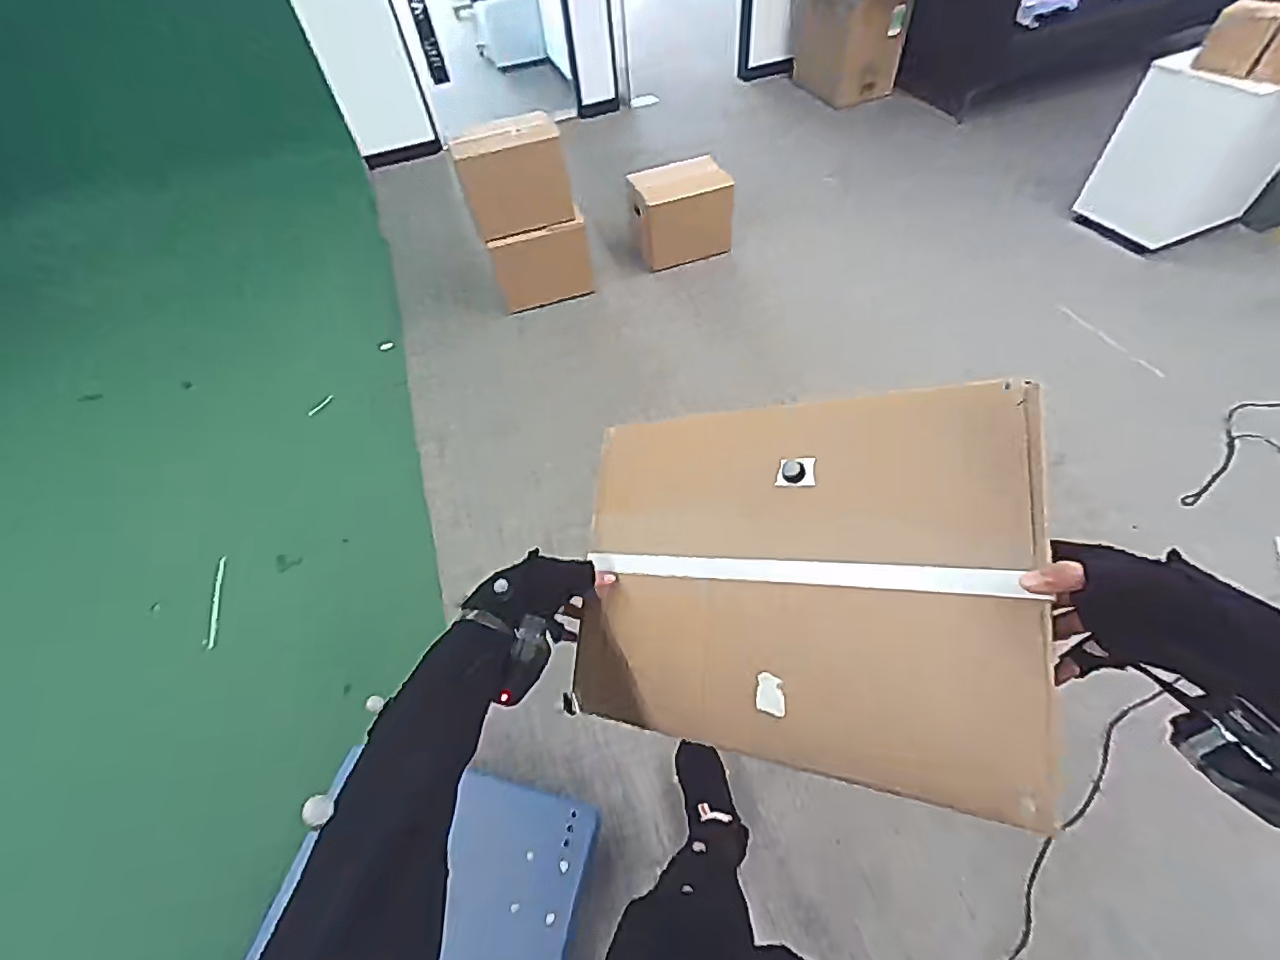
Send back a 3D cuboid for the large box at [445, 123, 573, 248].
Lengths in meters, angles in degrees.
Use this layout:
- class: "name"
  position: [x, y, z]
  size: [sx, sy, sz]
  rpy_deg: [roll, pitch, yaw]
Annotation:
- class: "large box"
  position: [-0.516, -1.176, 2.161]
  size: [0.408, 0.320, 0.320]
  rpy_deg: [-18, 50, -9]
